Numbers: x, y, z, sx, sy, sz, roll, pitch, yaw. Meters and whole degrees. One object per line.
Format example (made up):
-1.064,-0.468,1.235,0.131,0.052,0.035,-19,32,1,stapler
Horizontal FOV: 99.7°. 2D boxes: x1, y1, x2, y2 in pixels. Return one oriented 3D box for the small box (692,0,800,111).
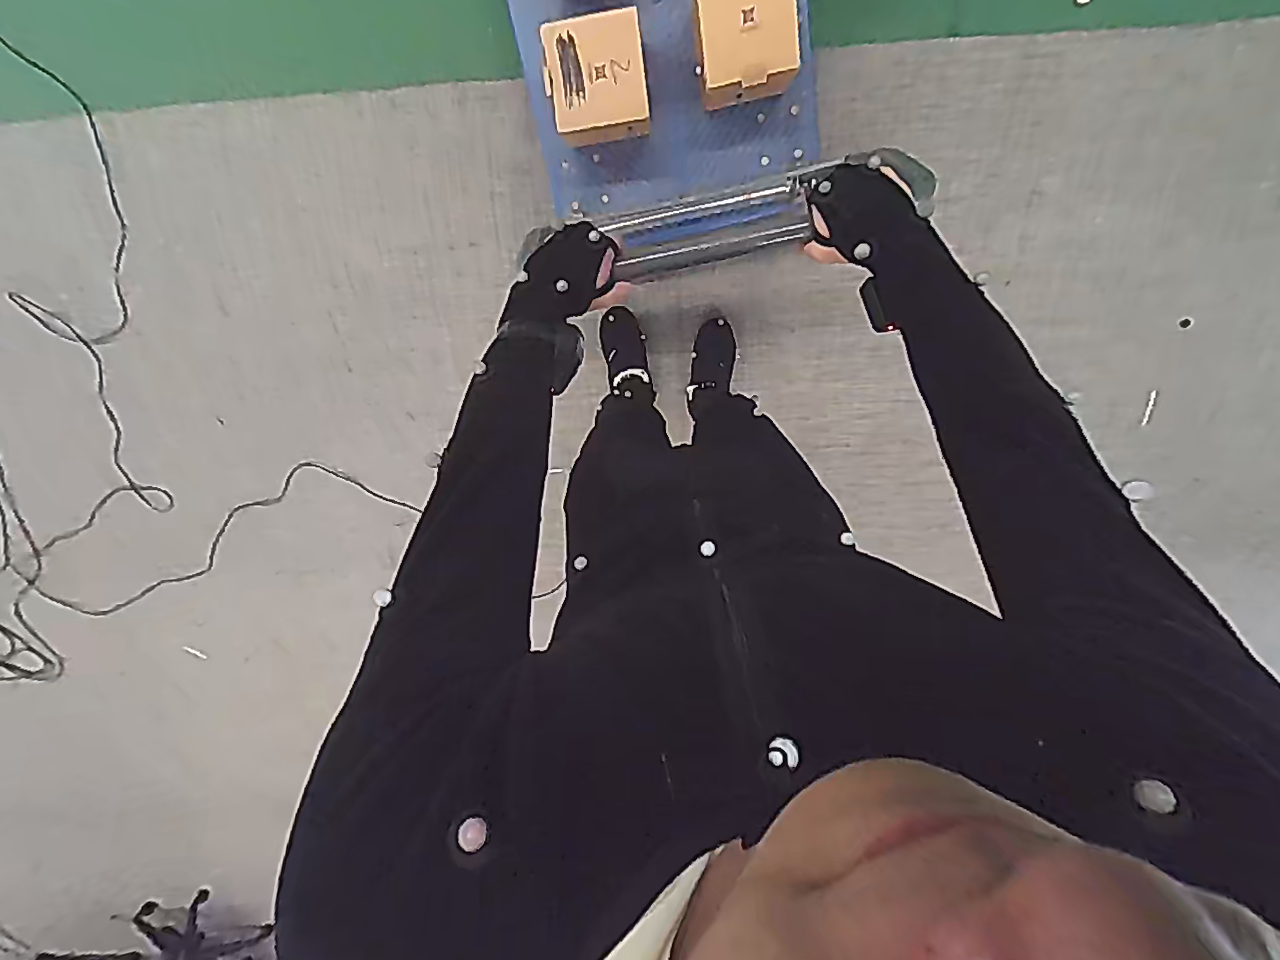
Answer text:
0.191,-0.819,1.003,0.168,0.176,0.179,-9,114,7,small box
